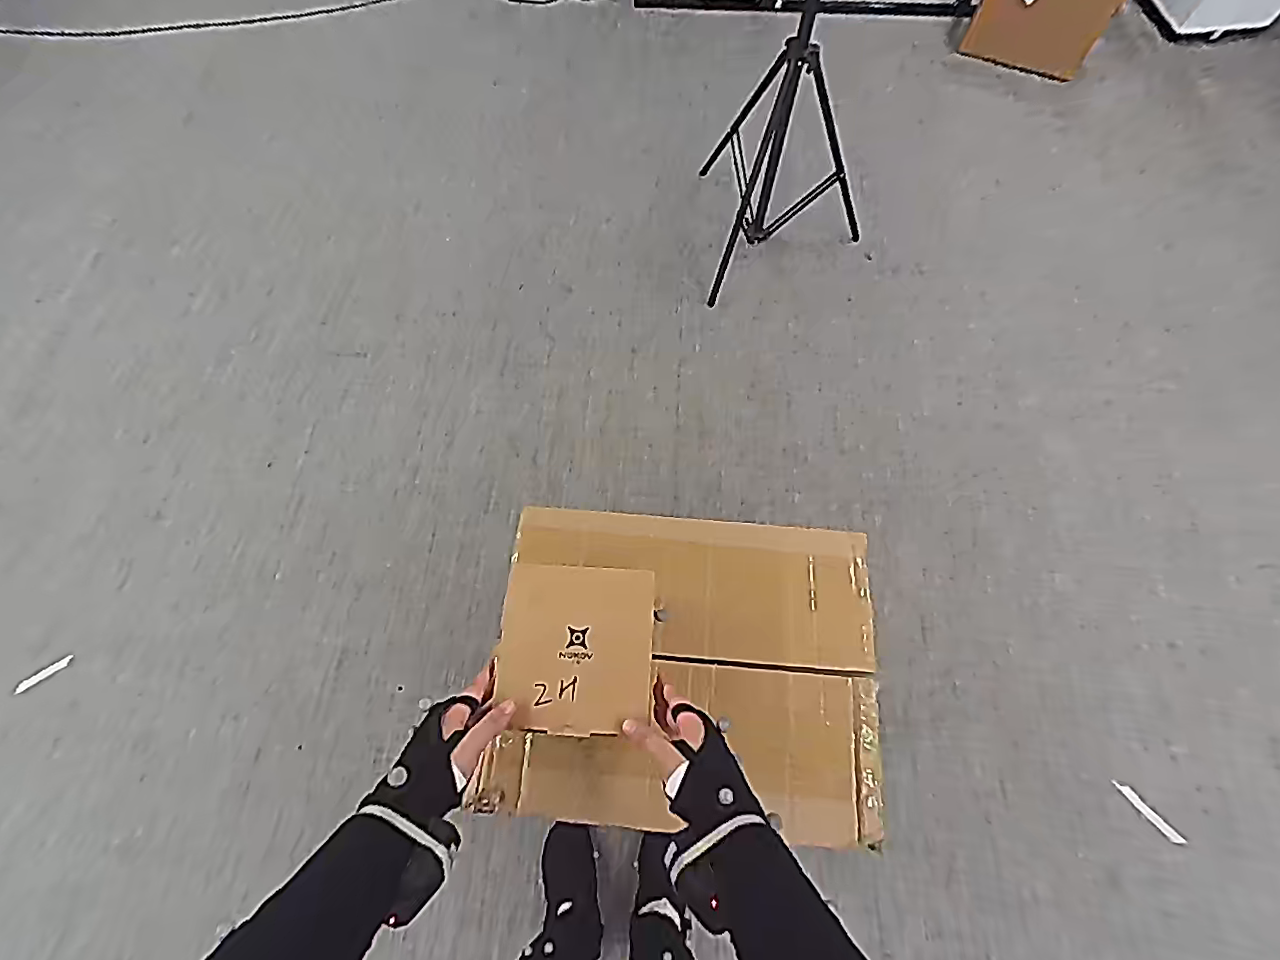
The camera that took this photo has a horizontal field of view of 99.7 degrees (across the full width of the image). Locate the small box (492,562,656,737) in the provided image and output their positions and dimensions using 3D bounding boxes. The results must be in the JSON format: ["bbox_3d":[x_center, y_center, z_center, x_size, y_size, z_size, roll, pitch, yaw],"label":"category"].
[{"bbox_3d":[-0.069,0.209,0.663,0.168,0.176,0.179,3,69,1],"label":"small box"}]
